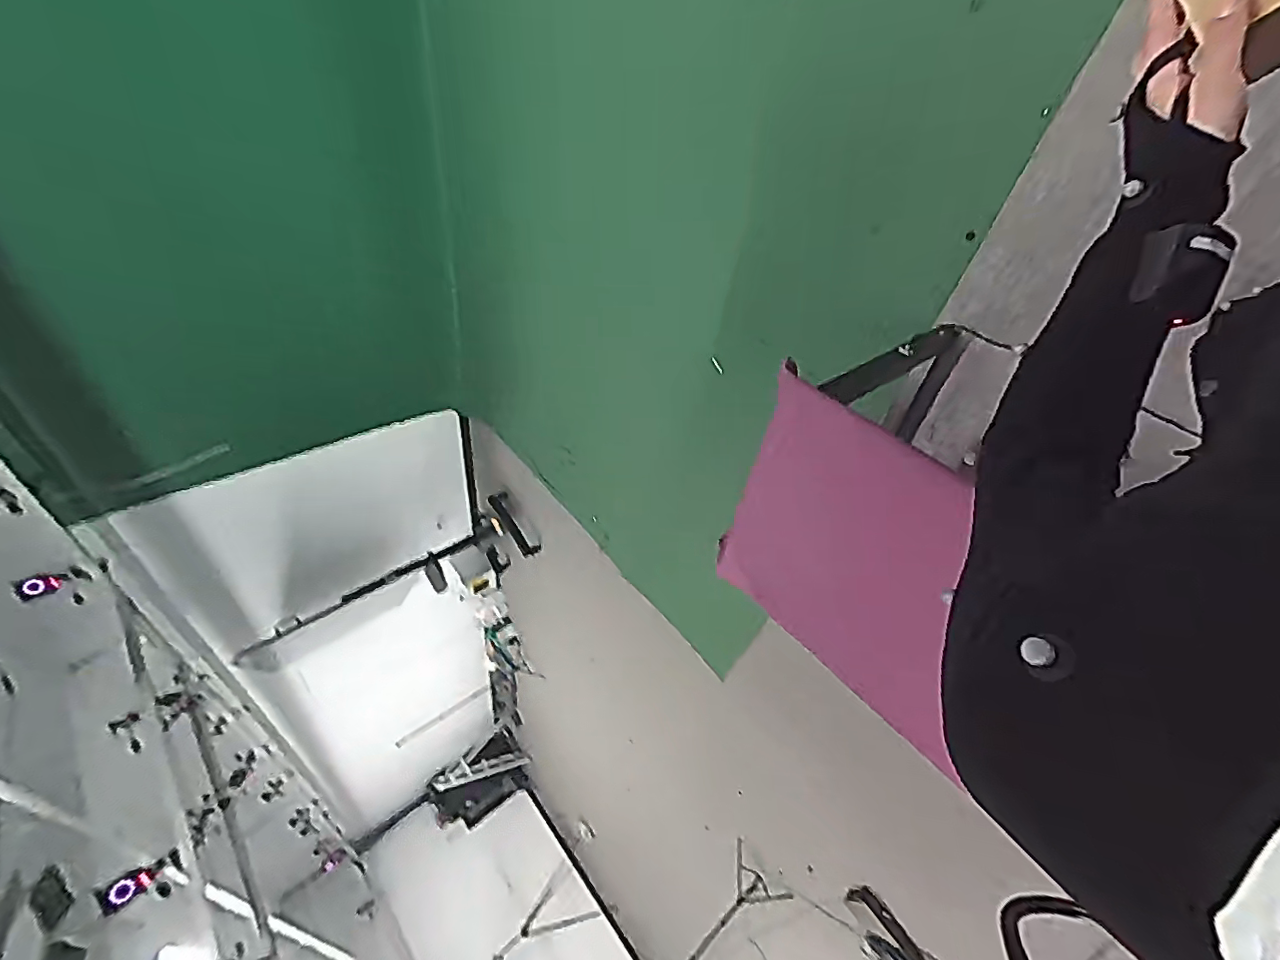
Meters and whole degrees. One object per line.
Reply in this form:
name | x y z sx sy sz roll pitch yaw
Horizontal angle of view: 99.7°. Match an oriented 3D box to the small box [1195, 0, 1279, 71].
small box | 0.507 -0.445 0.389 0.168 0.176 0.179 -21 88 54
